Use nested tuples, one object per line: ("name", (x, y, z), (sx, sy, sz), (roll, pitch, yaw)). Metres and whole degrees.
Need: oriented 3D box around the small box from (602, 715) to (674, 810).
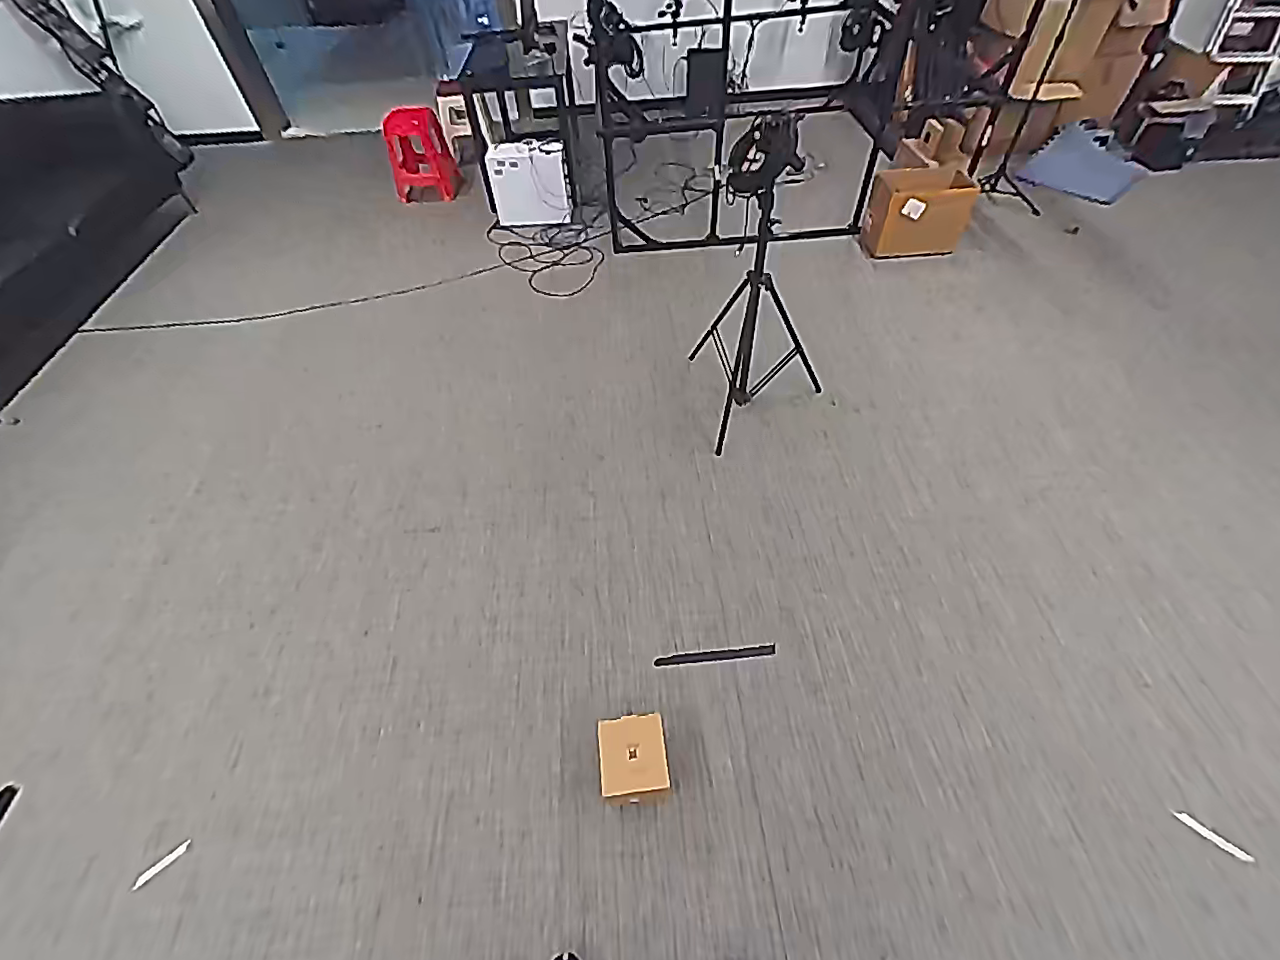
("small box", (-0.006, 0.731, 1.398), (0.168, 0.176, 0.179), (-7, 51, -1))
